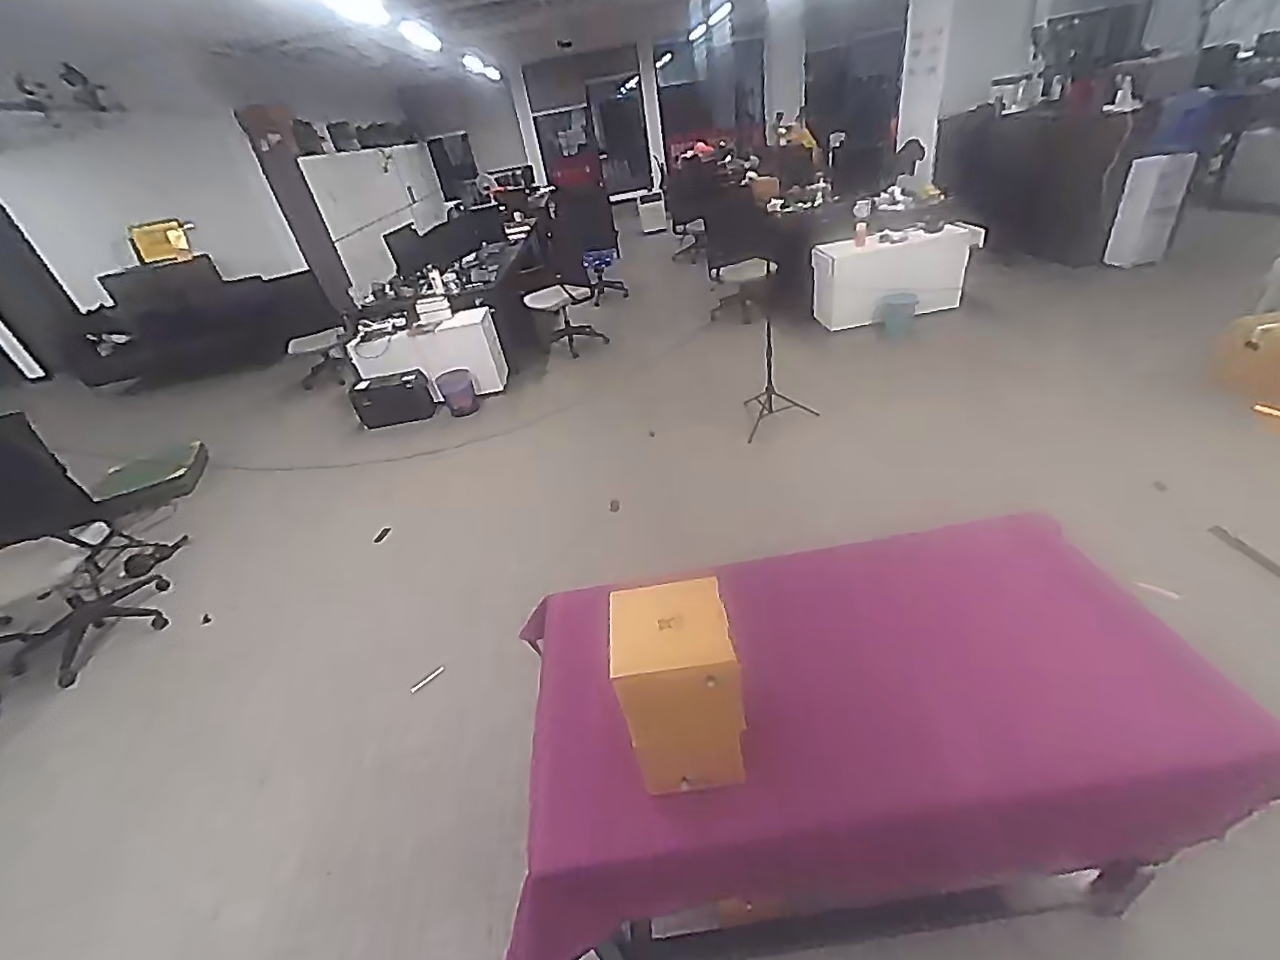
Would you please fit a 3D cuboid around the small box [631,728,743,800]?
[{"bbox_3d":[0.077,0.411,0.927,0.168,0.176,0.179,-11,34,3],"label":"small box"}]

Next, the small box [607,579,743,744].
[{"bbox_3d":[0.052,0.281,0.832,0.179,0.176,0.168,-10,34,3],"label":"small box"}]
